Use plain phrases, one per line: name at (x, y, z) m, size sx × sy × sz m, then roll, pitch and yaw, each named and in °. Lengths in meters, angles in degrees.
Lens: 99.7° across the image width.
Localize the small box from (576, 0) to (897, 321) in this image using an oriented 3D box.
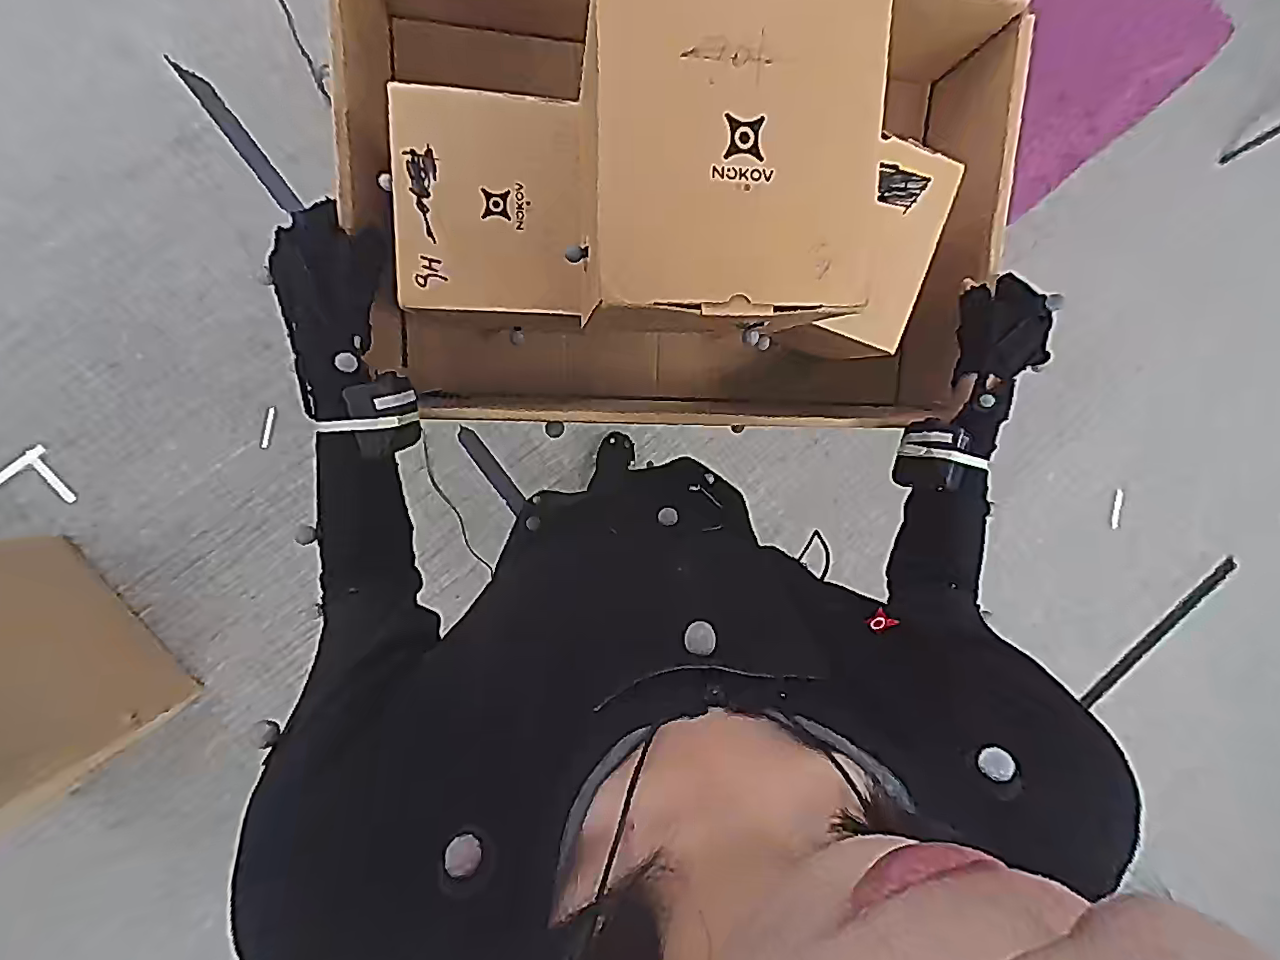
small box at (0.044, -0.205, 0.368) m, size 0.168 × 0.176 × 0.179 m, roll -3°, pitch 100°, yaw -9°

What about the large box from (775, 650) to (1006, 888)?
large box at (0.652, 0.744, 1.460) m, size 0.408 × 0.320 × 0.320 m, roll -41°, pitch 94°, yaw -6°
